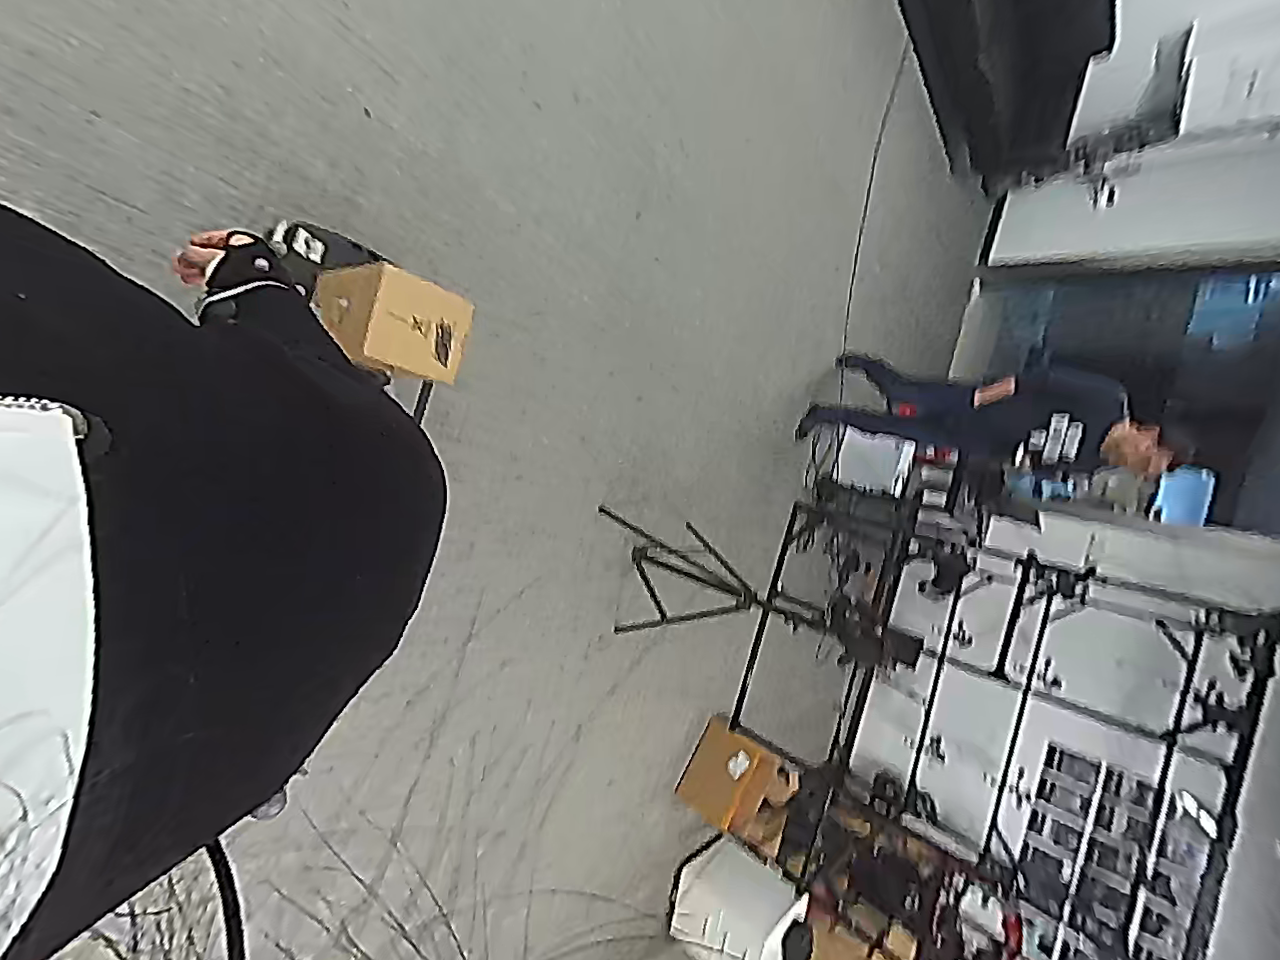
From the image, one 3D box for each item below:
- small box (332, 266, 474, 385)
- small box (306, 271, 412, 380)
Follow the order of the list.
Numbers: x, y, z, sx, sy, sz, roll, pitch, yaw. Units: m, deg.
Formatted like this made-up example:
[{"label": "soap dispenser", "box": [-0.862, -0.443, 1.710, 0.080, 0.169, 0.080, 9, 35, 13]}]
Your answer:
[{"label": "small box", "box": [-0.457, -0.294, 1.044, 0.179, 0.176, 0.168, 15, 90, -48]}, {"label": "small box", "box": [-0.580, -0.325, 1.148, 0.179, 0.176, 0.168, 17, 88, -48]}]
